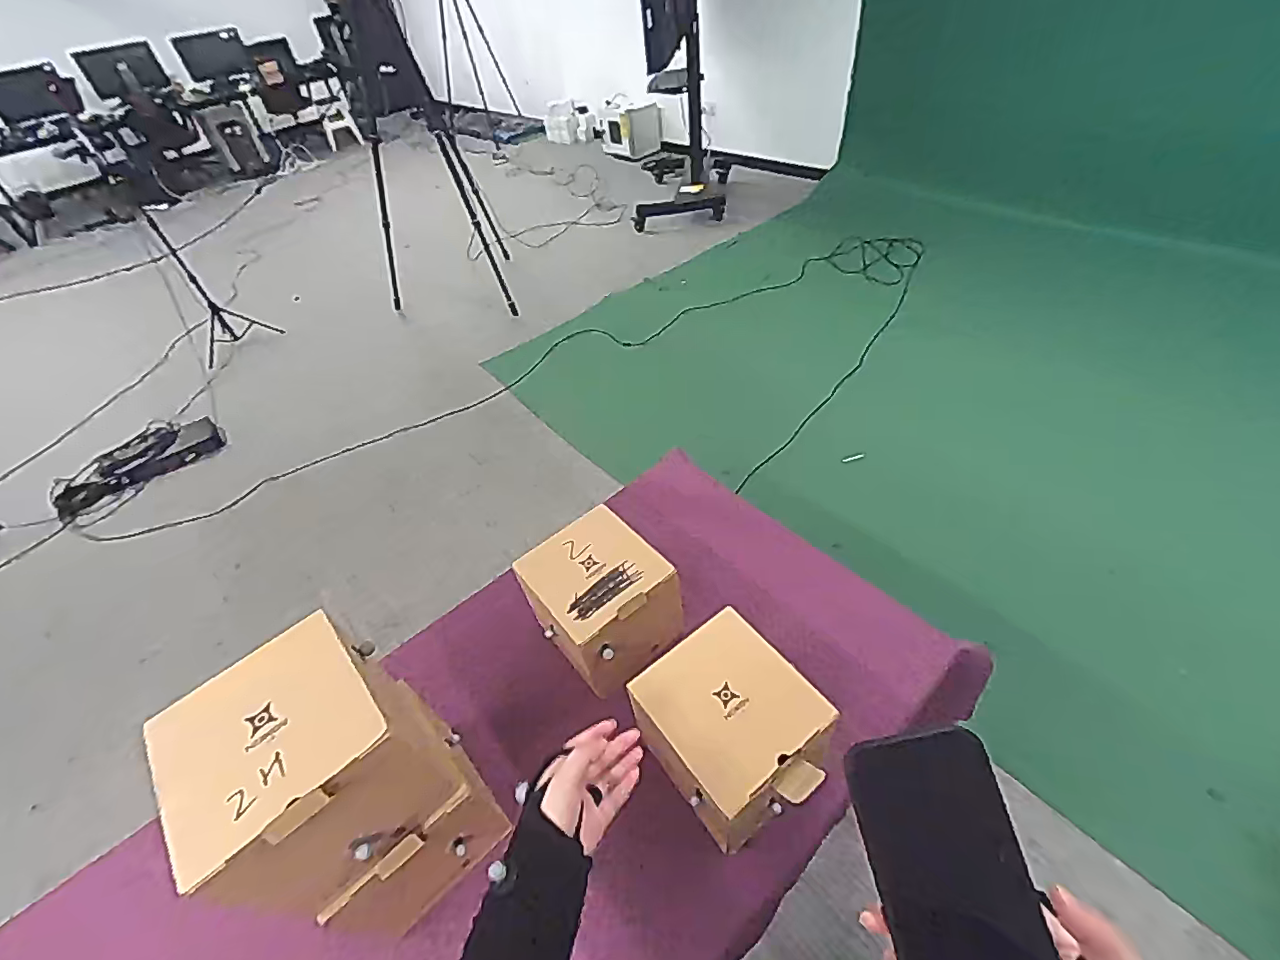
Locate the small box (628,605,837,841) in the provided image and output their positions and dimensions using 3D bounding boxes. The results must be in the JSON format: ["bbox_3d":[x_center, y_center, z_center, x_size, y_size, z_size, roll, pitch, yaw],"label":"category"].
[{"bbox_3d":[0.107,0.297,0.663,0.168,0.176,0.179,-32,50,-20],"label":"small box"}]

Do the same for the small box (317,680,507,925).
[{"bbox_3d":[-0.285,0.385,0.645,0.168,0.176,0.179,-36,50,-24],"label":"small box"}]

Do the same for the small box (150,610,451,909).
[{"bbox_3d":[-0.318,0.271,0.529,0.168,0.176,0.179,-37,51,-24],"label":"small box"}]
